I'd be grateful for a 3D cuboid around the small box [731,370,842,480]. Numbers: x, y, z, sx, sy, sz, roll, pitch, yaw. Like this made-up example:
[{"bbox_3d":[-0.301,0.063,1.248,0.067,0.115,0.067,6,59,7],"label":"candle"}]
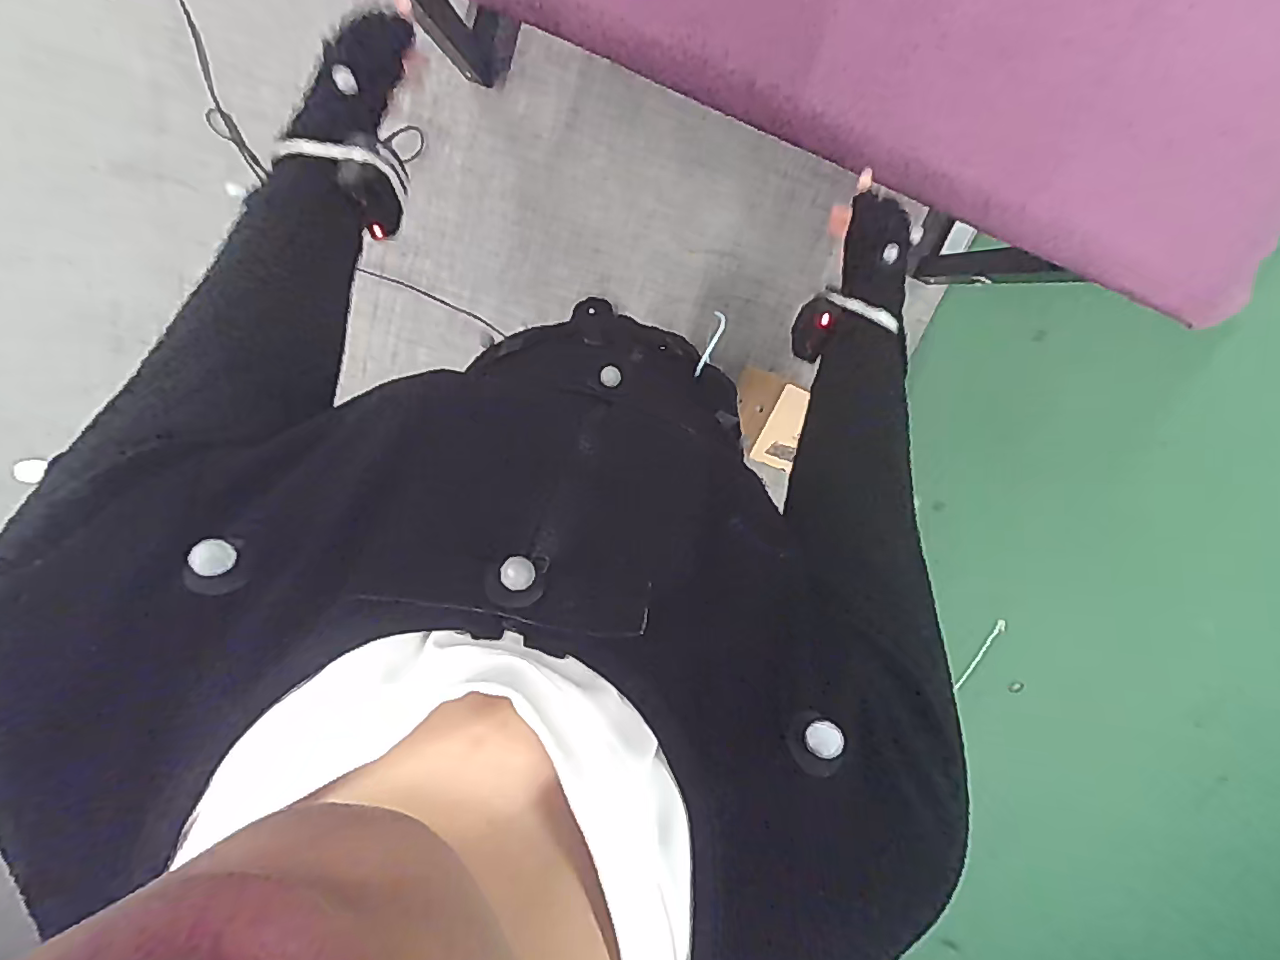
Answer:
[{"bbox_3d":[0.318,-0.131,1.222,0.168,0.176,0.179,23,107,-8],"label":"small box"}]
